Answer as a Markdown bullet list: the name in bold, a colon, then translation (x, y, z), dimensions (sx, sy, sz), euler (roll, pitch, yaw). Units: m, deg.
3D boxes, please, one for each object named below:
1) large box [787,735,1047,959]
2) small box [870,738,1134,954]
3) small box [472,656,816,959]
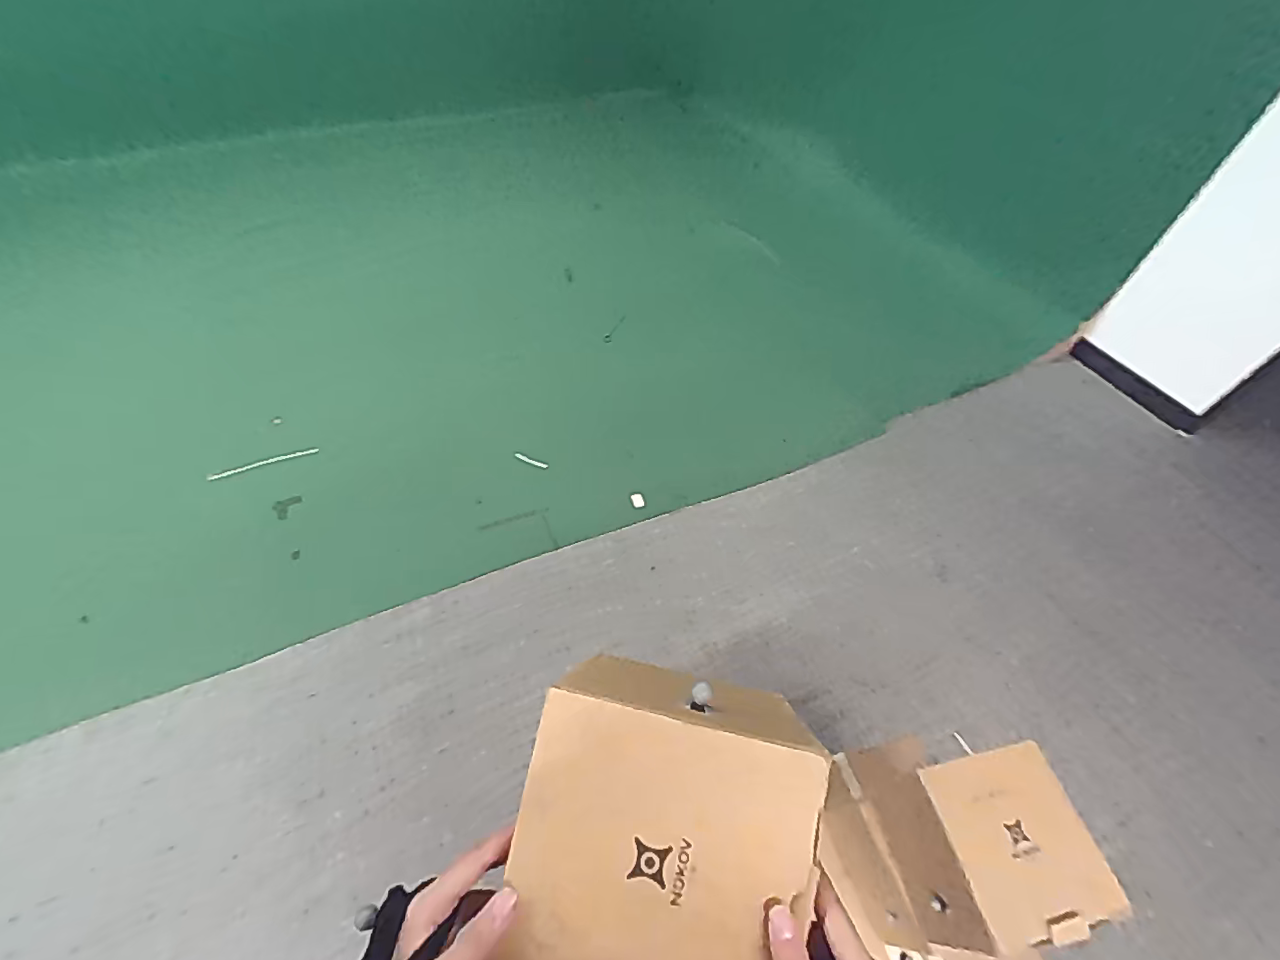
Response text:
- **large box**: translation (0.413, 0.733, 0.956), dimensions (0.320, 0.320, 0.408), euler (-14, 55, -10)
- **small box**: translation (0.419, 0.443, 0.666), dimensions (0.168, 0.176, 0.179), euler (-9, 53, -9)
- **small box**: translation (0.009, 0.232, 0.392), dimensions (0.179, 0.176, 0.168), euler (11, 80, 6)
